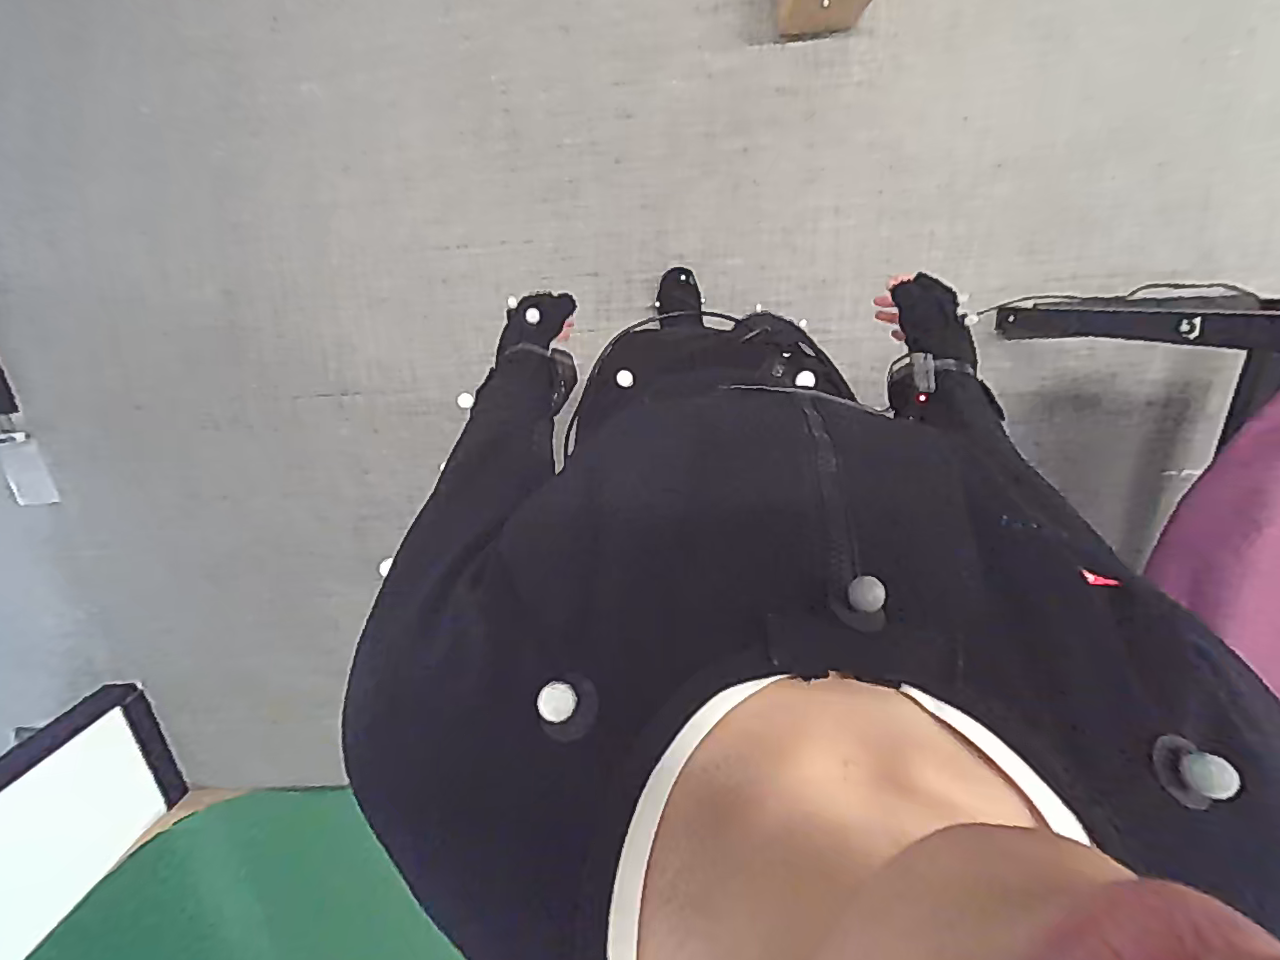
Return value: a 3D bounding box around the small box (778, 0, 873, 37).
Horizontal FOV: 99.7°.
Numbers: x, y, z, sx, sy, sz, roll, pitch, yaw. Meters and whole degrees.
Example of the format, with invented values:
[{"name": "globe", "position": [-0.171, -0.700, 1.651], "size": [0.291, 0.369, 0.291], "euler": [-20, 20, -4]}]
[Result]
[{"name": "small box", "position": [0.368, -1.018, 1.061], "size": [0.168, 0.176, 0.179], "euler": [-3, 107, 4]}]
